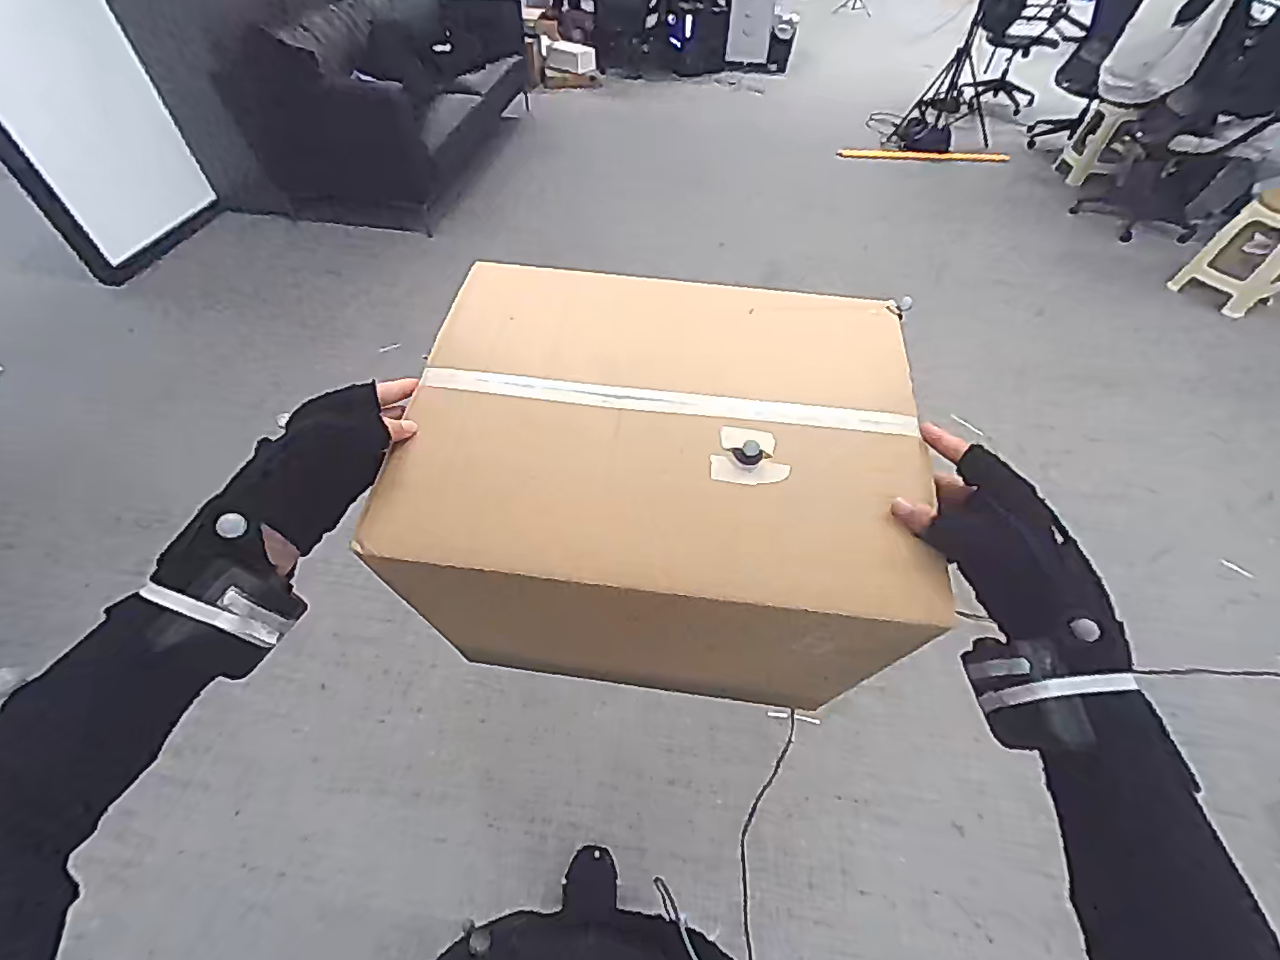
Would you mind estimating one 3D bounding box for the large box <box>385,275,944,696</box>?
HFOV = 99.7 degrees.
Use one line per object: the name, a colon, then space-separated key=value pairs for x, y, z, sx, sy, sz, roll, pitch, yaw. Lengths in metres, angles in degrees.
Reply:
large box: x=0.023 y=0.022 z=0.580 sx=0.408 sy=0.320 sz=0.320 roll=7 pitch=59 yaw=2
